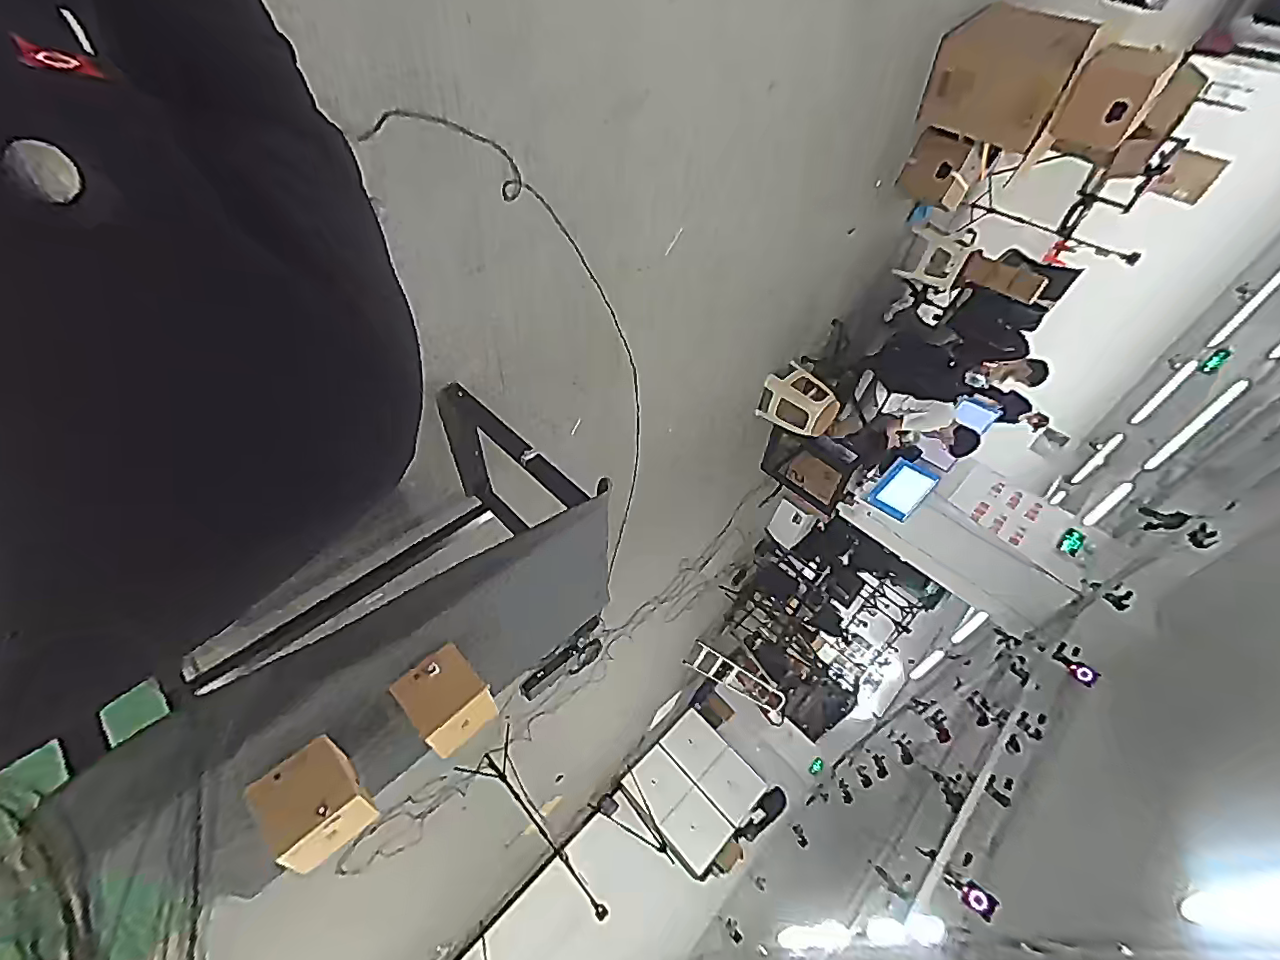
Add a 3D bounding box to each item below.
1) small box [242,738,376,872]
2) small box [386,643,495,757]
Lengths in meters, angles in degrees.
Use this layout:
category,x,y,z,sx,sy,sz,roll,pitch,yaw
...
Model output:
category,x,y,z,sx,sy,sz,roll,pitch,yaw
small box,-0.703,0.691,1.158,0.168,0.176,0.179,-35,151,-32
small box,-0.482,0.531,1.318,0.168,0.176,0.179,-38,151,-28
